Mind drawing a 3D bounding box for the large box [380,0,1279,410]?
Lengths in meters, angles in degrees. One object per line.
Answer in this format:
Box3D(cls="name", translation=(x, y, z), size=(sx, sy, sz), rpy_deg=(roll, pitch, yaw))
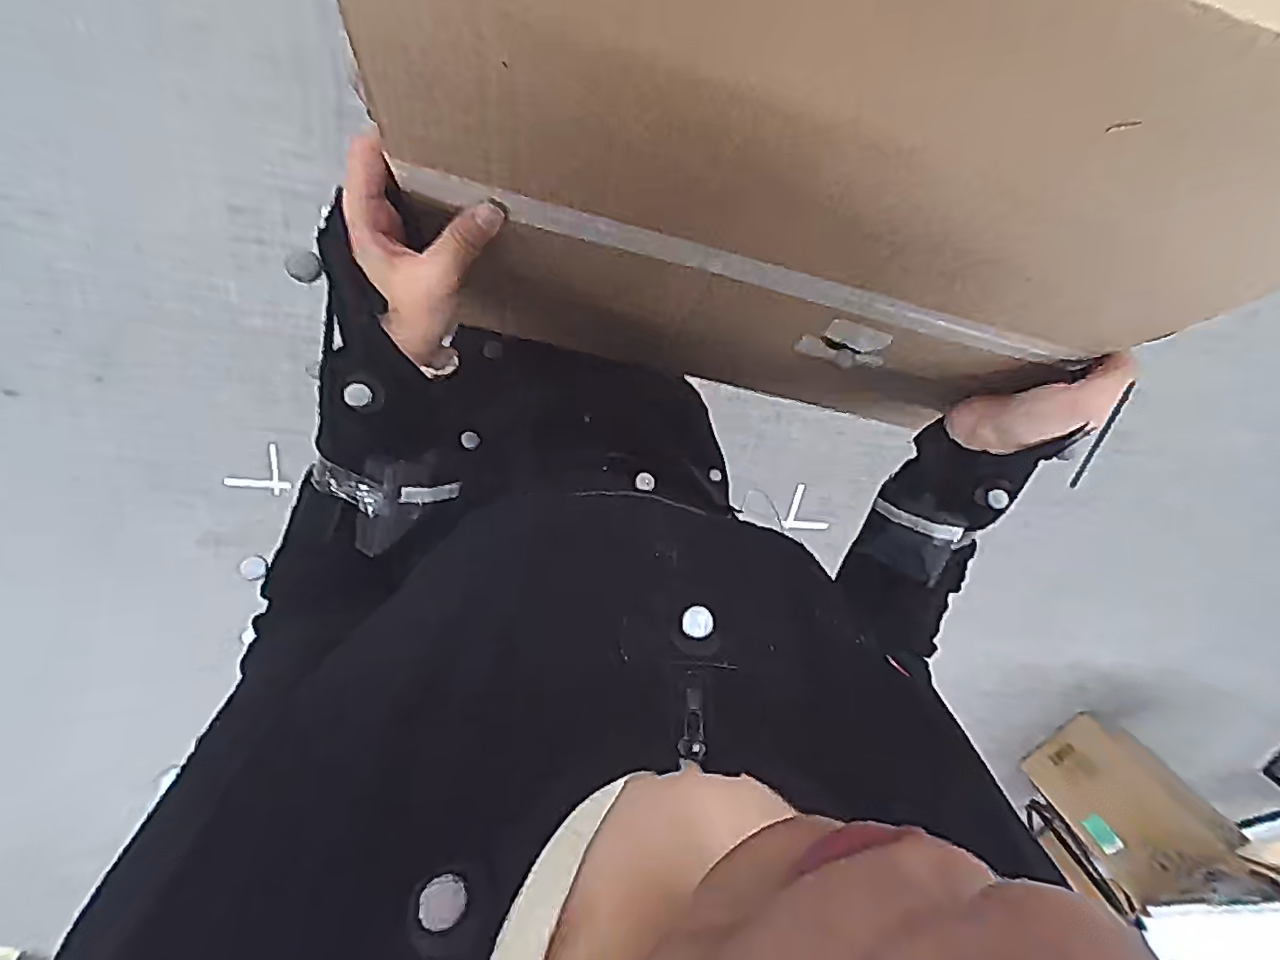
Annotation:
Box3D(cls="large box", translation=(0.110, -0.267, 0.300), size=(0.408, 0.320, 0.320), rpy_deg=(11, 77, -9))
